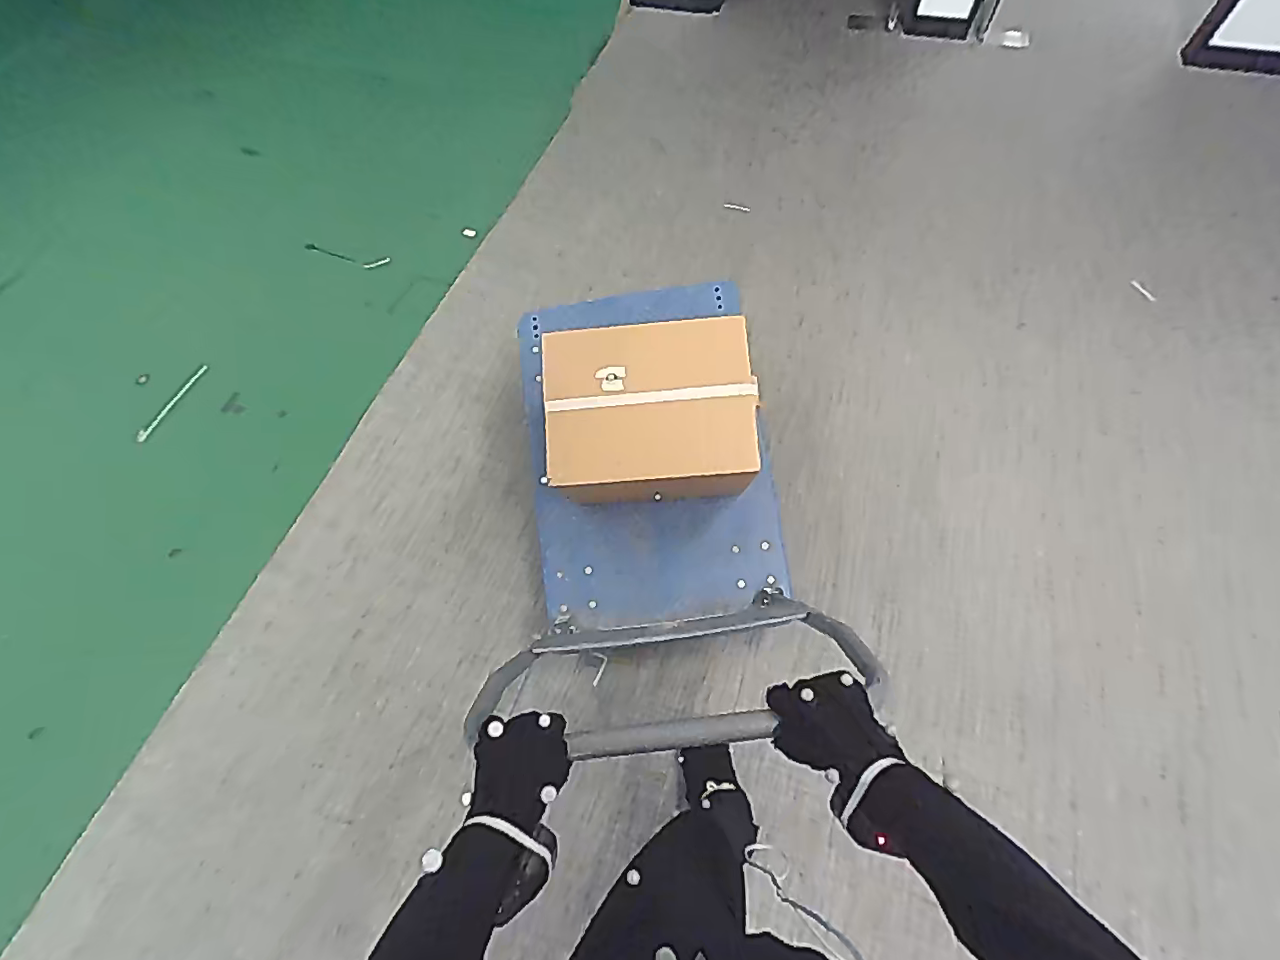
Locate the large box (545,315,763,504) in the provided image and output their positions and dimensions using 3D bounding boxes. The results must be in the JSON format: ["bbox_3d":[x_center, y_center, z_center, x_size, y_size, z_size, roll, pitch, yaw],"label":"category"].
[{"bbox_3d":[0.034,-0.128,1.183,0.408,0.320,0.320,-5,80,5],"label":"large box"}]
